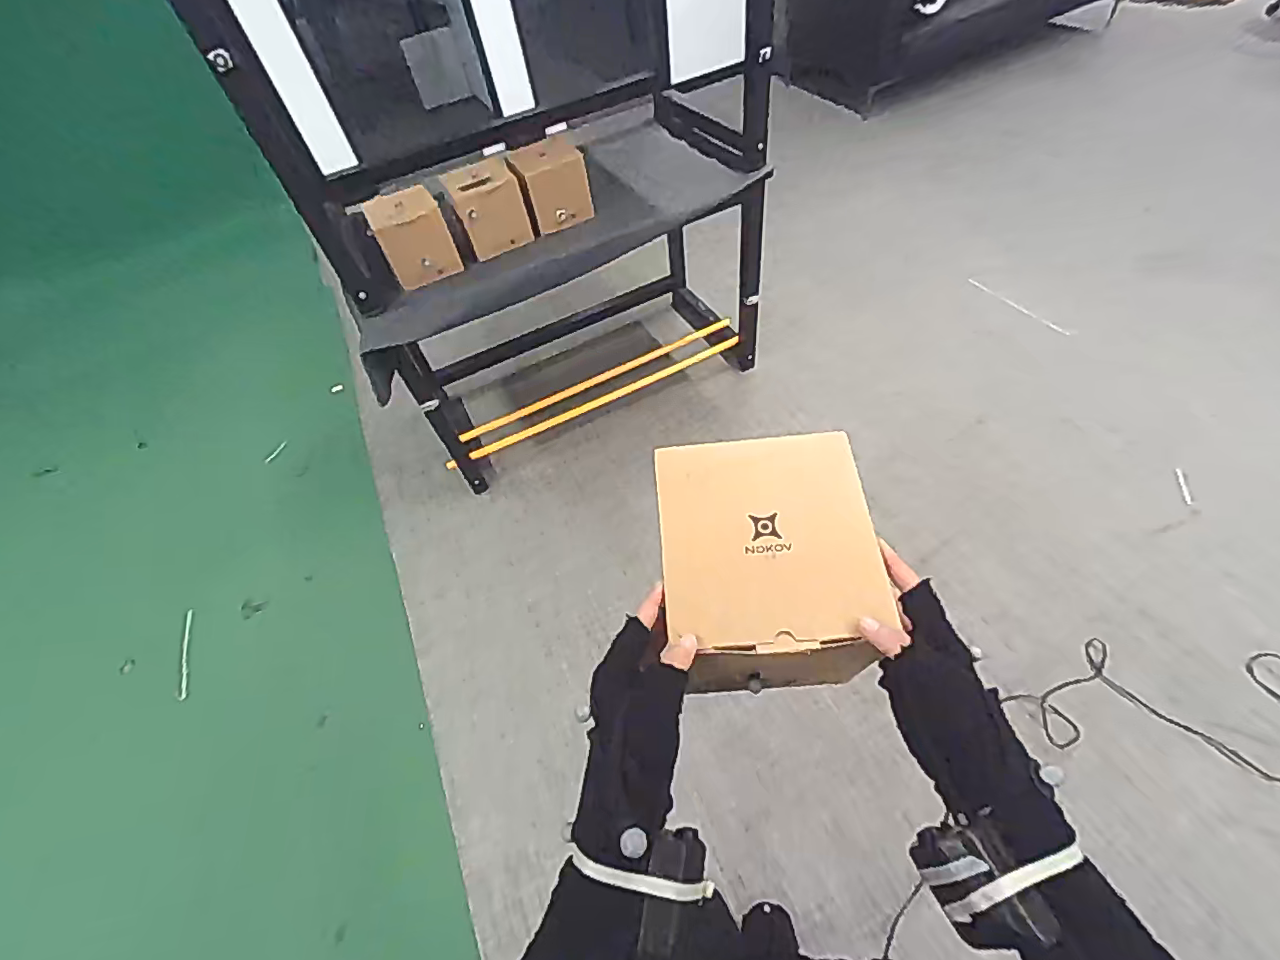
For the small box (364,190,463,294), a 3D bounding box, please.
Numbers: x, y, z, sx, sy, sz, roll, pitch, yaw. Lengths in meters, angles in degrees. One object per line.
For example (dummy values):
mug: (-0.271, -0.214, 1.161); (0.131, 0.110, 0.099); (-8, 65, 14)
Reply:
small box: (-0.582, -0.613, 1.398); (0.168, 0.176, 0.179); (-27, 53, -12)
